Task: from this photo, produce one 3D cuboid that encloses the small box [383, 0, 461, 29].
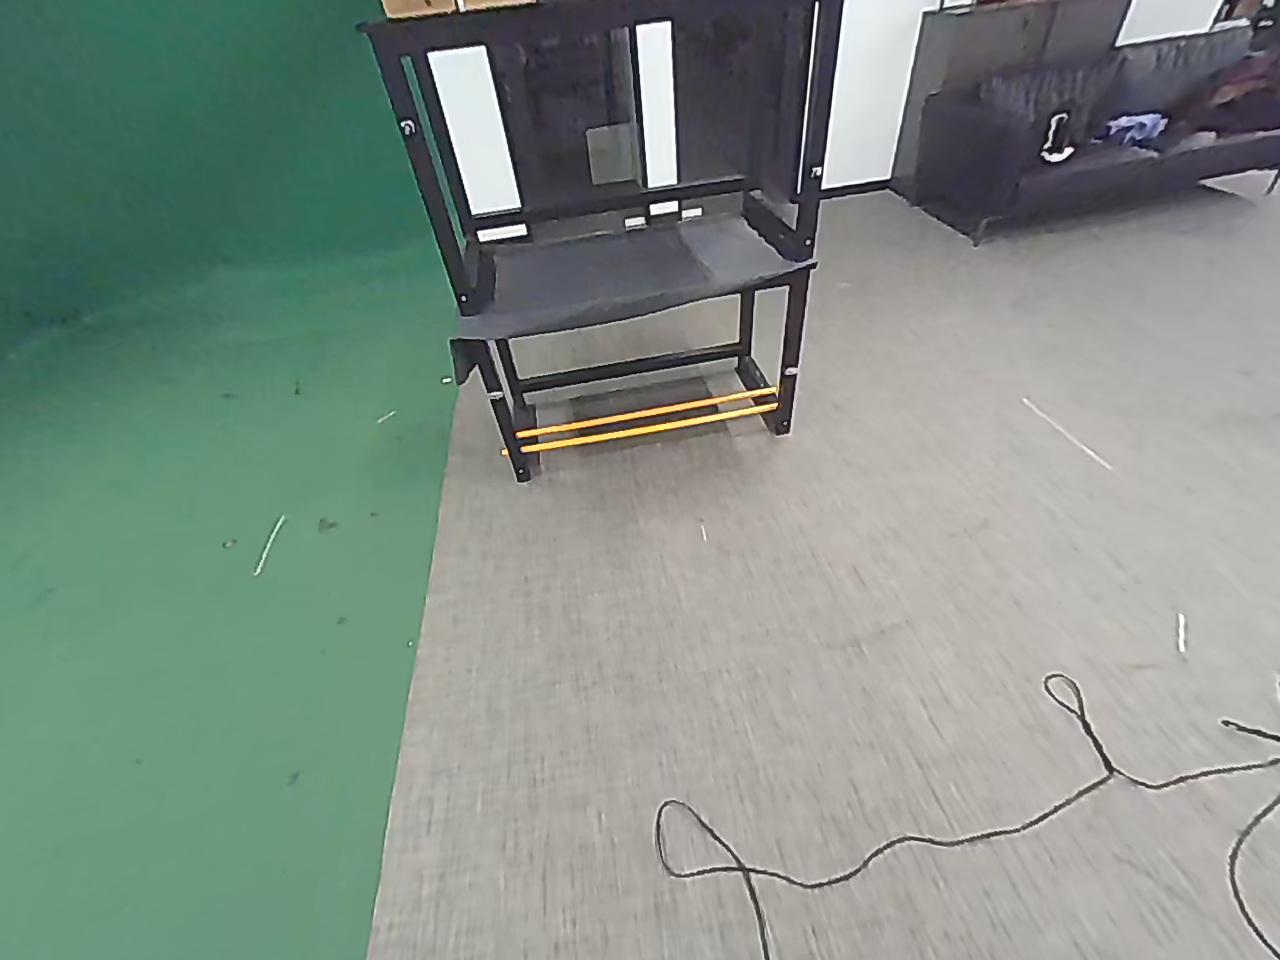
[{"bbox_3d":[-0.546,-1.220,1.321,0.168,0.176,0.179,-11,44,-5],"label":"small box"}]
